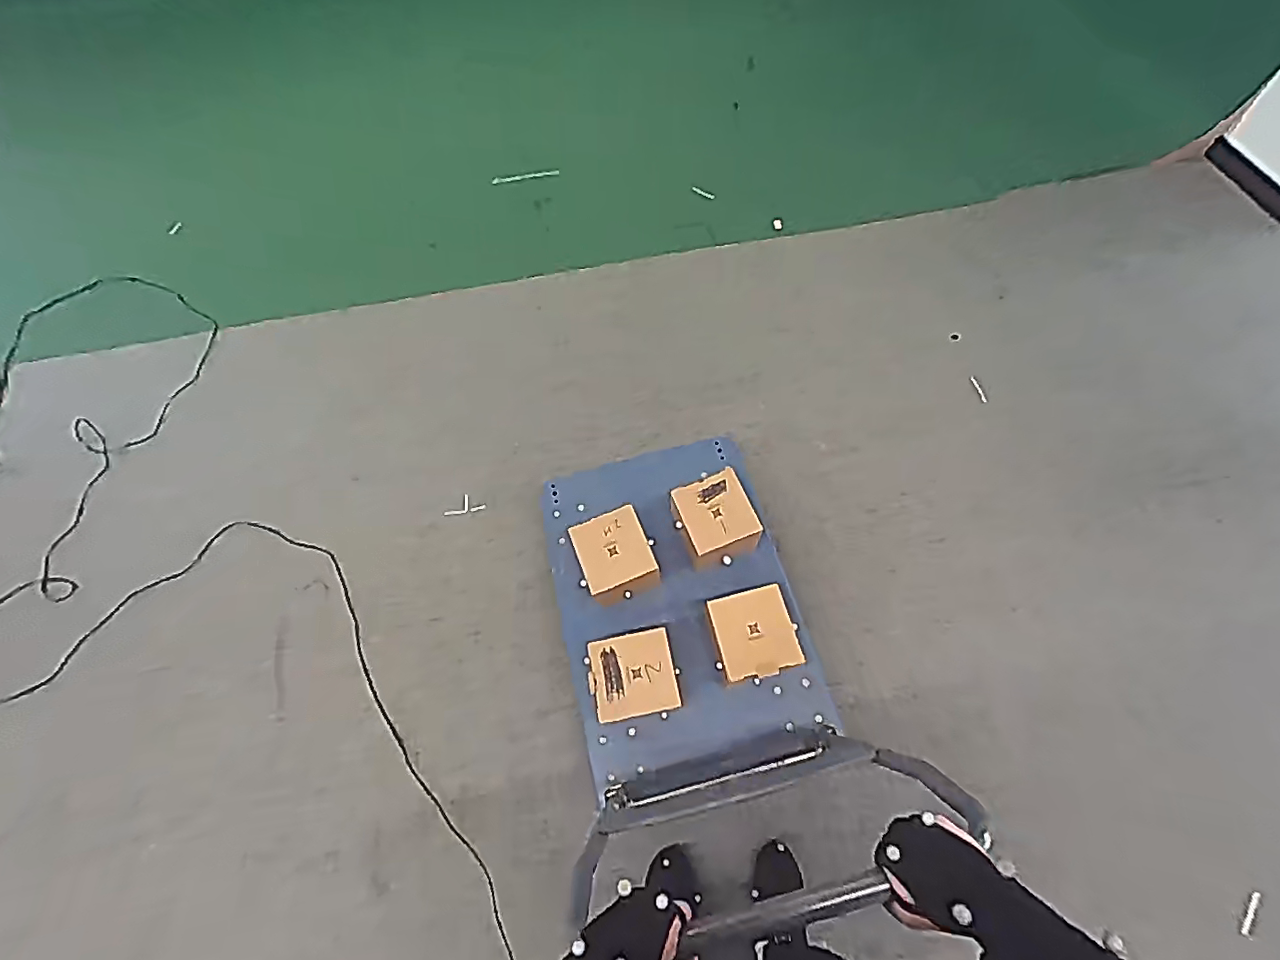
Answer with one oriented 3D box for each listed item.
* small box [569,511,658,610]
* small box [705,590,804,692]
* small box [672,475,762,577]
[{"bbox_3d":[-0.059,0.207,1.330,0.168,0.176,0.179,-21,65,-7],"label":"small box"},{"bbox_3d":[0.251,0.371,1.234,0.168,0.176,0.179,-14,65,-2],"label":"small box"},{"bbox_3d":[0.185,0.119,1.354,0.168,0.176,0.179,-21,66,-5],"label":"small box"}]
